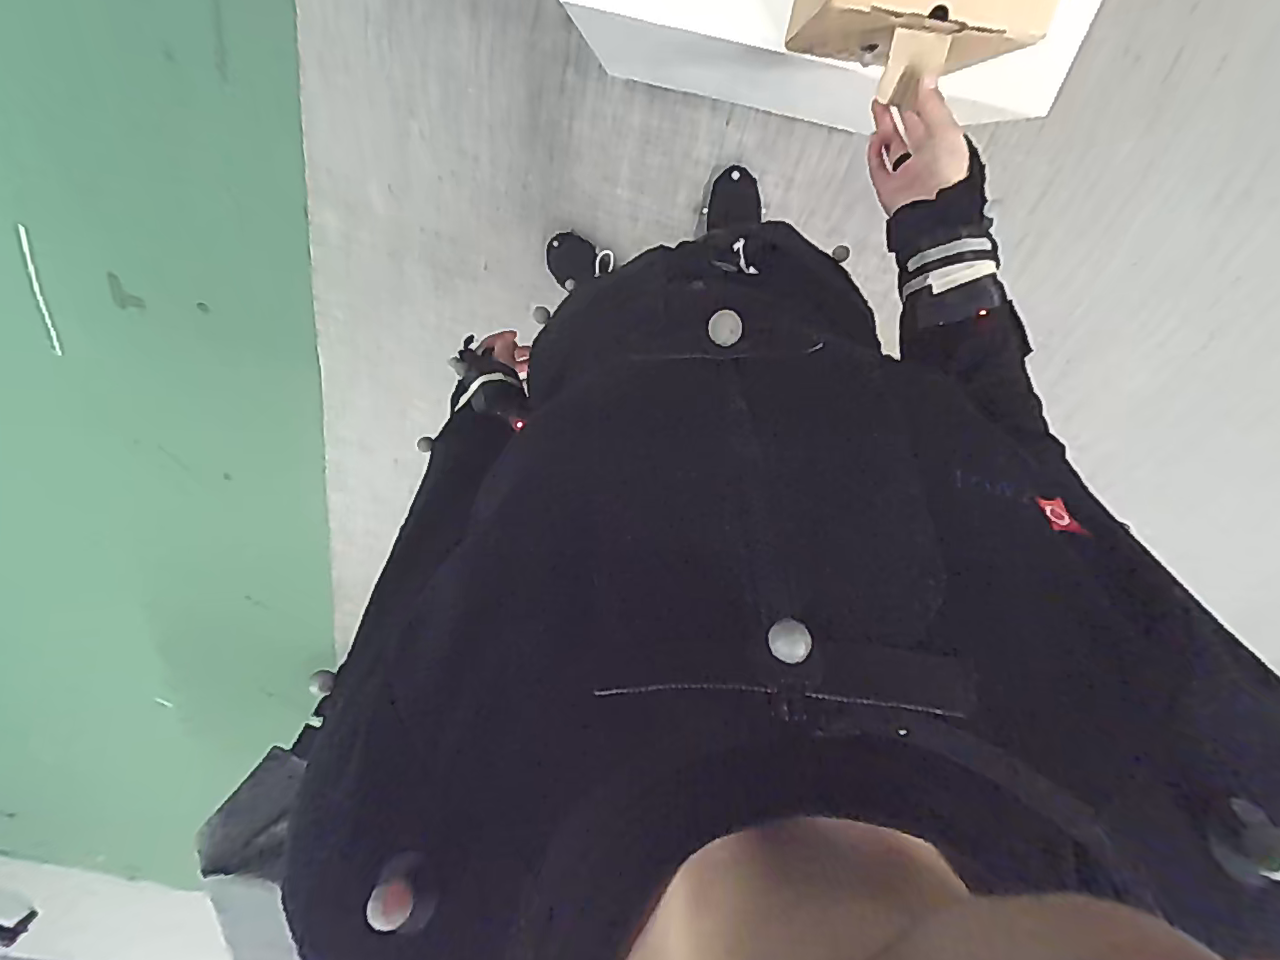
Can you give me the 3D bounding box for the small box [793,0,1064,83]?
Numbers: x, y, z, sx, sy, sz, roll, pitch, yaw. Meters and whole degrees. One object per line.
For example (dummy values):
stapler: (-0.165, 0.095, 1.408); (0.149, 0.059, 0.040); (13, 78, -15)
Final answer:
small box: (0.234, -0.443, 0.426); (0.168, 0.176, 0.179); (8, 120, -2)
